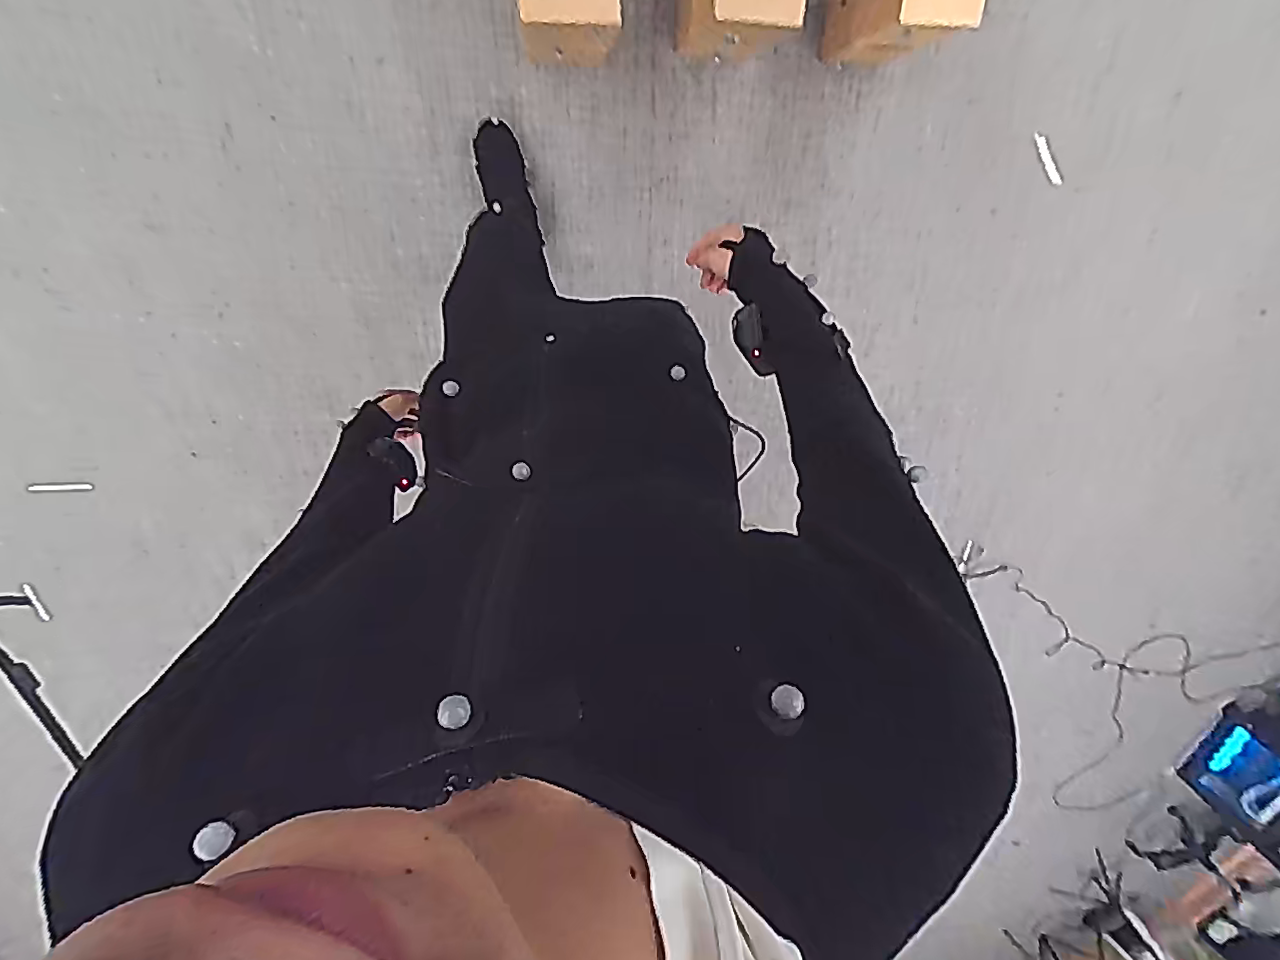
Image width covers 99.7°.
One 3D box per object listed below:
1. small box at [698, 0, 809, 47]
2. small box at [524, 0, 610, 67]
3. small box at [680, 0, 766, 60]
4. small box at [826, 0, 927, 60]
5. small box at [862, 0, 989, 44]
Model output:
[{"bbox_3d":[0.208,-0.926,0.984,0.168,0.176,0.179,-1,118,-8],"label":"small box"},{"bbox_3d":[-0.151,-0.968,1.094,0.168,0.176,0.179,-3,117,-7],"label":"small box"},{"bbox_3d":[0.183,-1.008,1.125,0.168,0.176,0.179,-2,118,-8],"label":"small box"},{"bbox_3d":[0.520,-1.031,1.169,0.168,0.176,0.179,-5,117,-7],"label":"small box"},{"bbox_3d":[0.547,-0.957,1.027,0.168,0.176,0.179,-4,117,-7],"label":"small box"}]
